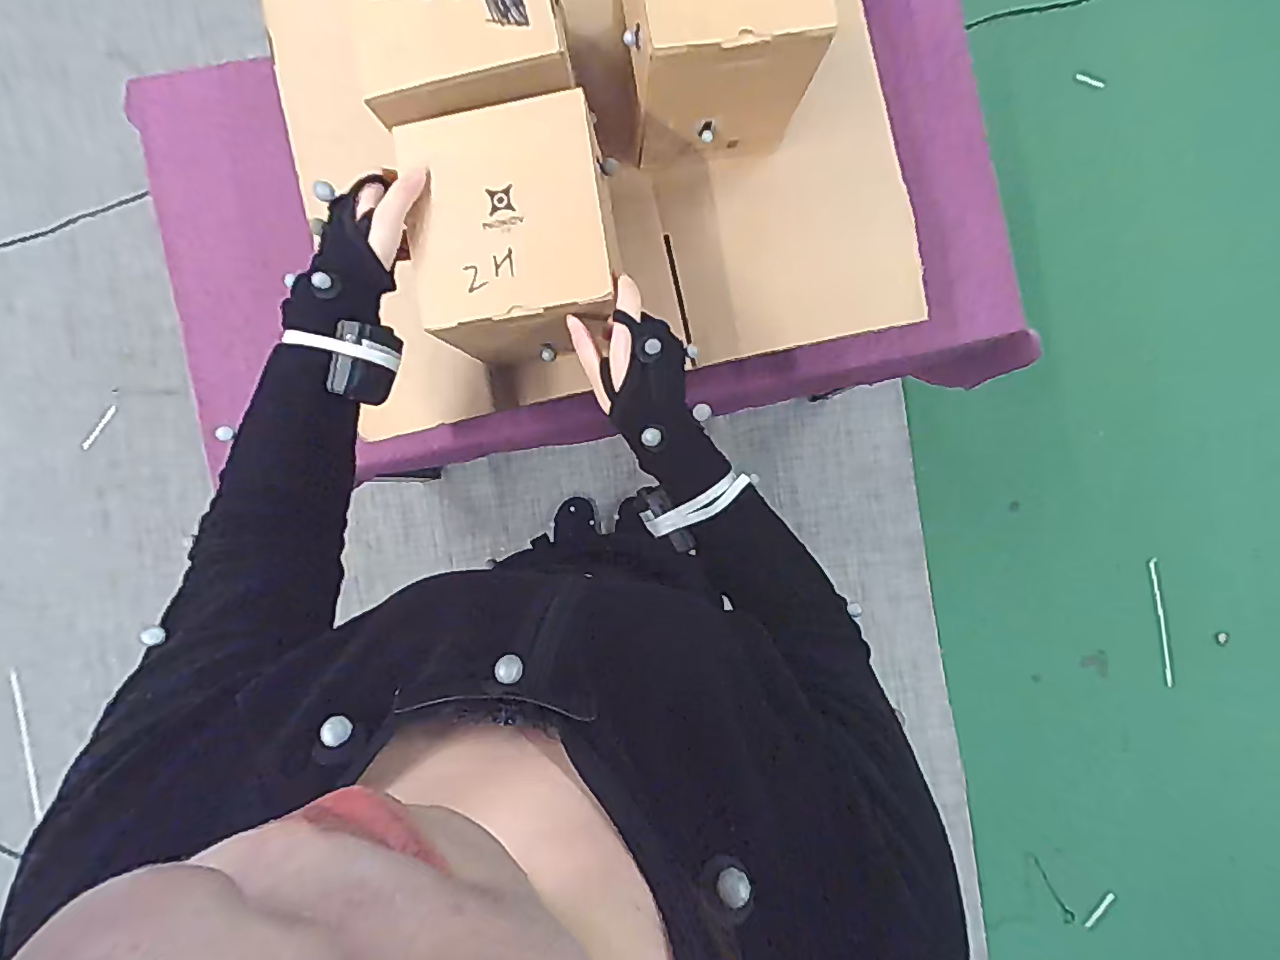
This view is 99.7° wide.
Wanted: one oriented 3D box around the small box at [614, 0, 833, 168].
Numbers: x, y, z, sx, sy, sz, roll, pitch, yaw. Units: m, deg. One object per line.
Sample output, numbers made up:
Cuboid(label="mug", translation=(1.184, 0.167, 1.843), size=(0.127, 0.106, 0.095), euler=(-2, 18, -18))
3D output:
Cuboid(label="small box", translation=(0.068, -0.454, 0.545), size=(0.168, 0.176, 0.179), euler=(-10, 90, -4))
